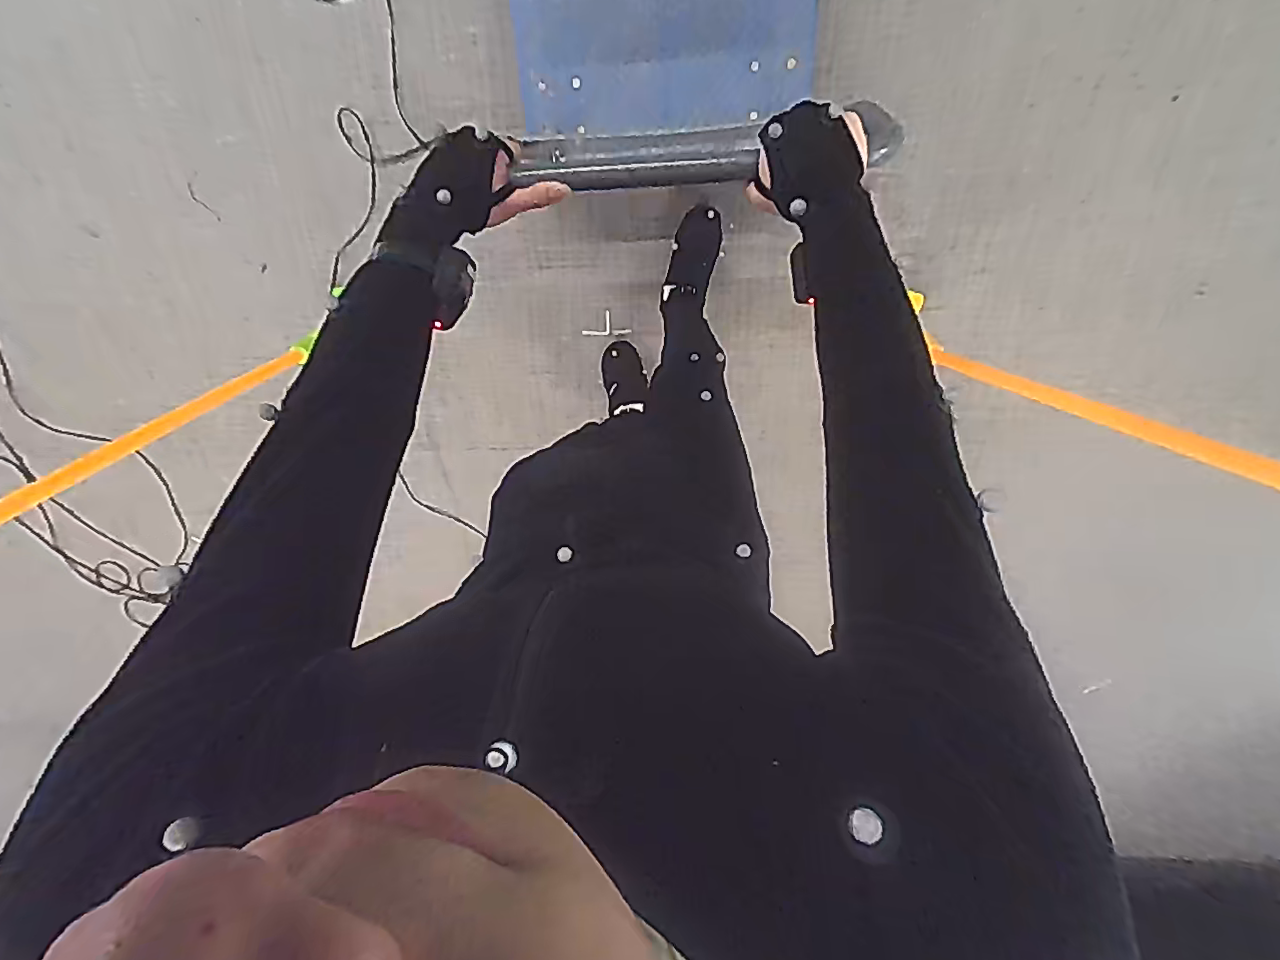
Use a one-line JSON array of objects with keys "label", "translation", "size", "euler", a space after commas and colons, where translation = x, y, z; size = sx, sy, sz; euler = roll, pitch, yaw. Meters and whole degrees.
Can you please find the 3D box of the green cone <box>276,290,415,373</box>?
[{"label": "green cone", "translation": [-0.734, -0.329, 1.303], "size": [0.202, 0.368, 0.200], "euler": [-3, 115, 6]}]
